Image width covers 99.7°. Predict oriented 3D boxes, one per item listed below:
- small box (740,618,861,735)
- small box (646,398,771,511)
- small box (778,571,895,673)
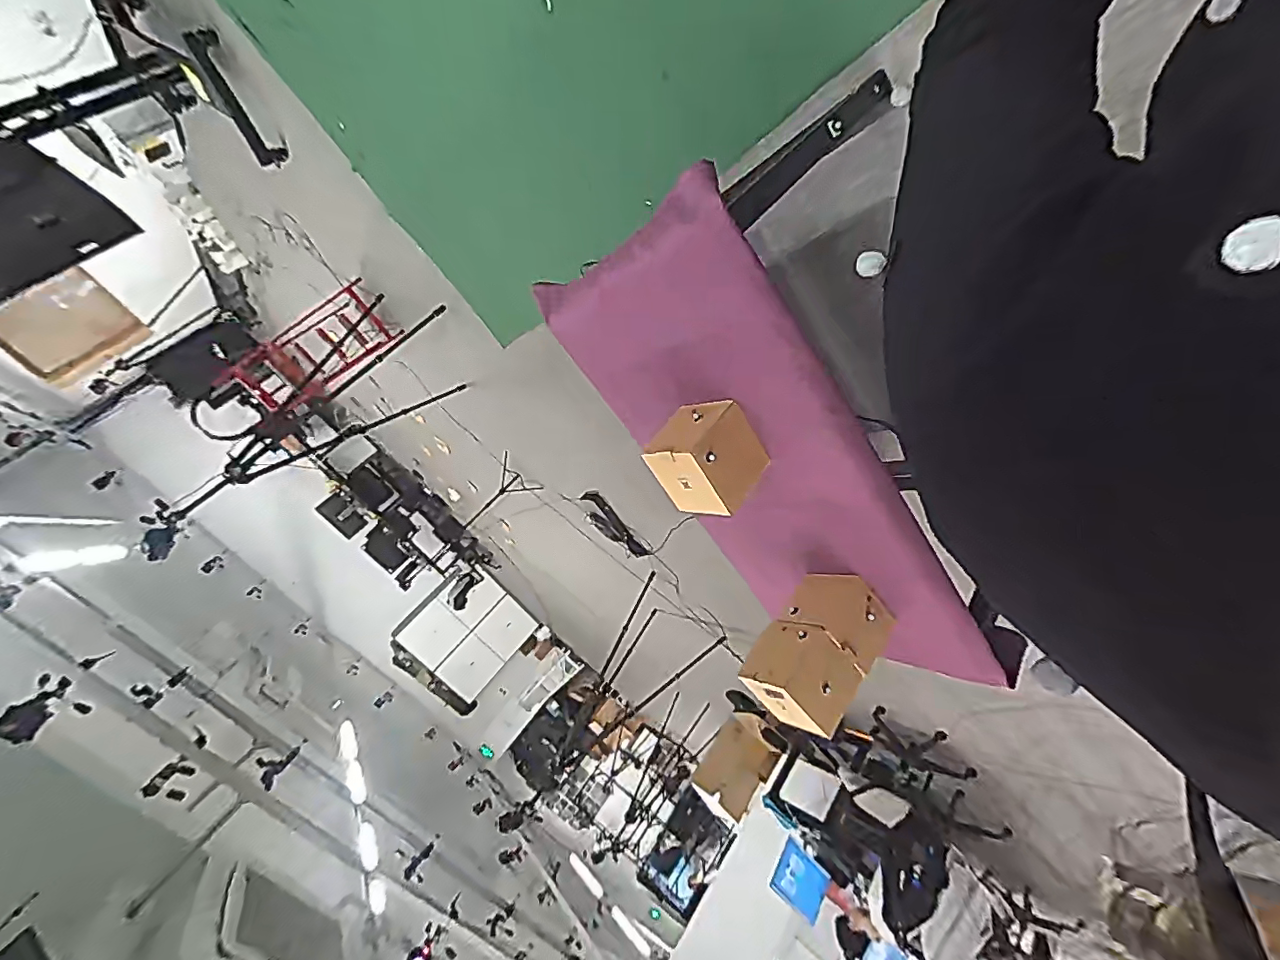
[{"bbox_3d":[0.376,0.447,1.260,0.179,0.176,0.168,50,156,-15],"label":"small box"},{"bbox_3d":[0.155,-0.056,1.176,0.168,0.176,0.179,2,134,54],"label":"small box"},{"bbox_3d":[0.484,0.339,1.328,0.168,0.176,0.179,48,155,-14],"label":"small box"}]
